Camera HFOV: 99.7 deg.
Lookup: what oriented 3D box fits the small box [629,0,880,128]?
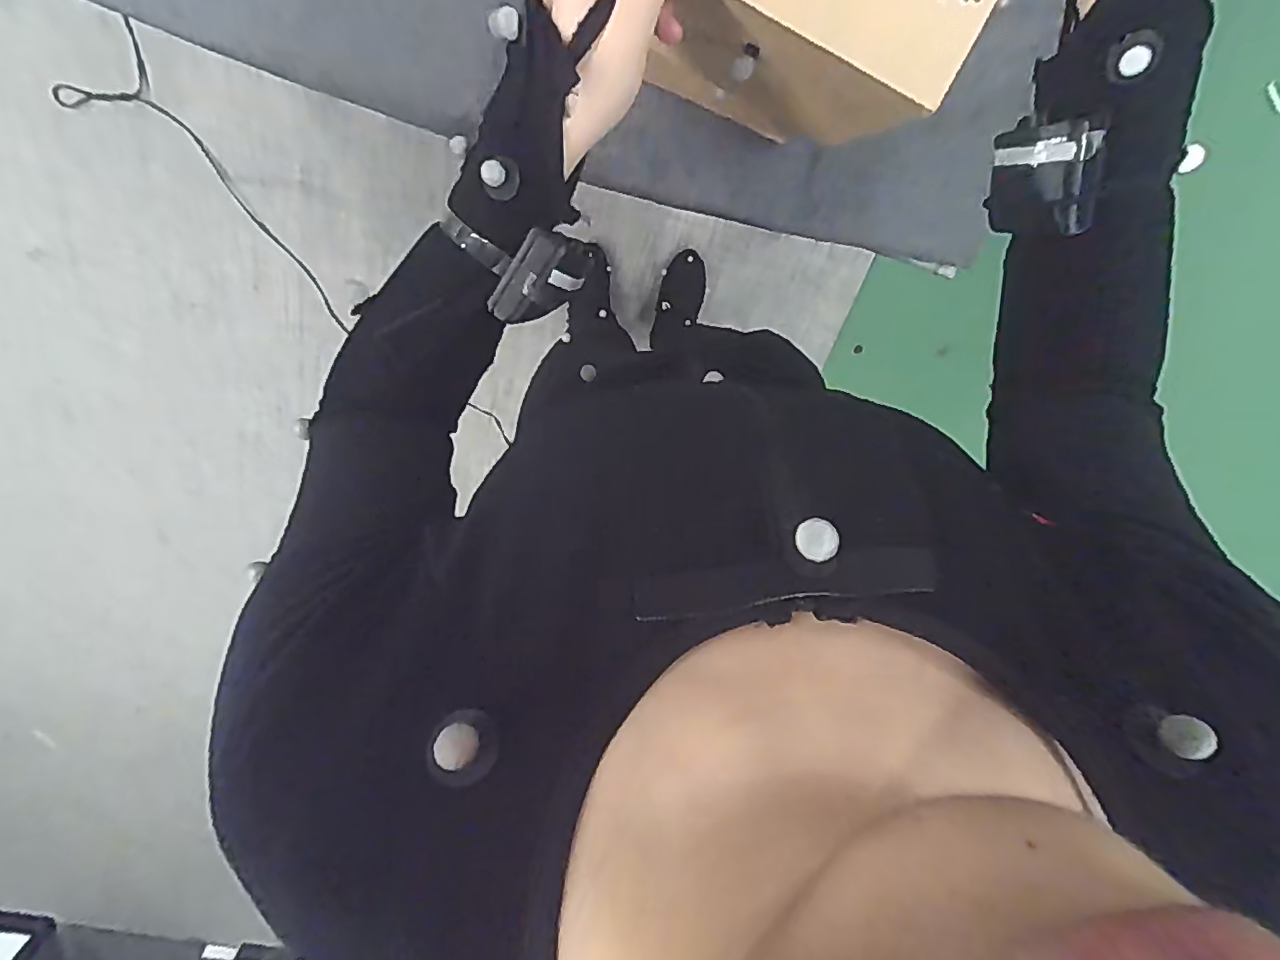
[{"bbox_3d":[0.099,-0.423,0.453,0.179,0.176,0.168,18,115,-10],"label":"small box"}]
